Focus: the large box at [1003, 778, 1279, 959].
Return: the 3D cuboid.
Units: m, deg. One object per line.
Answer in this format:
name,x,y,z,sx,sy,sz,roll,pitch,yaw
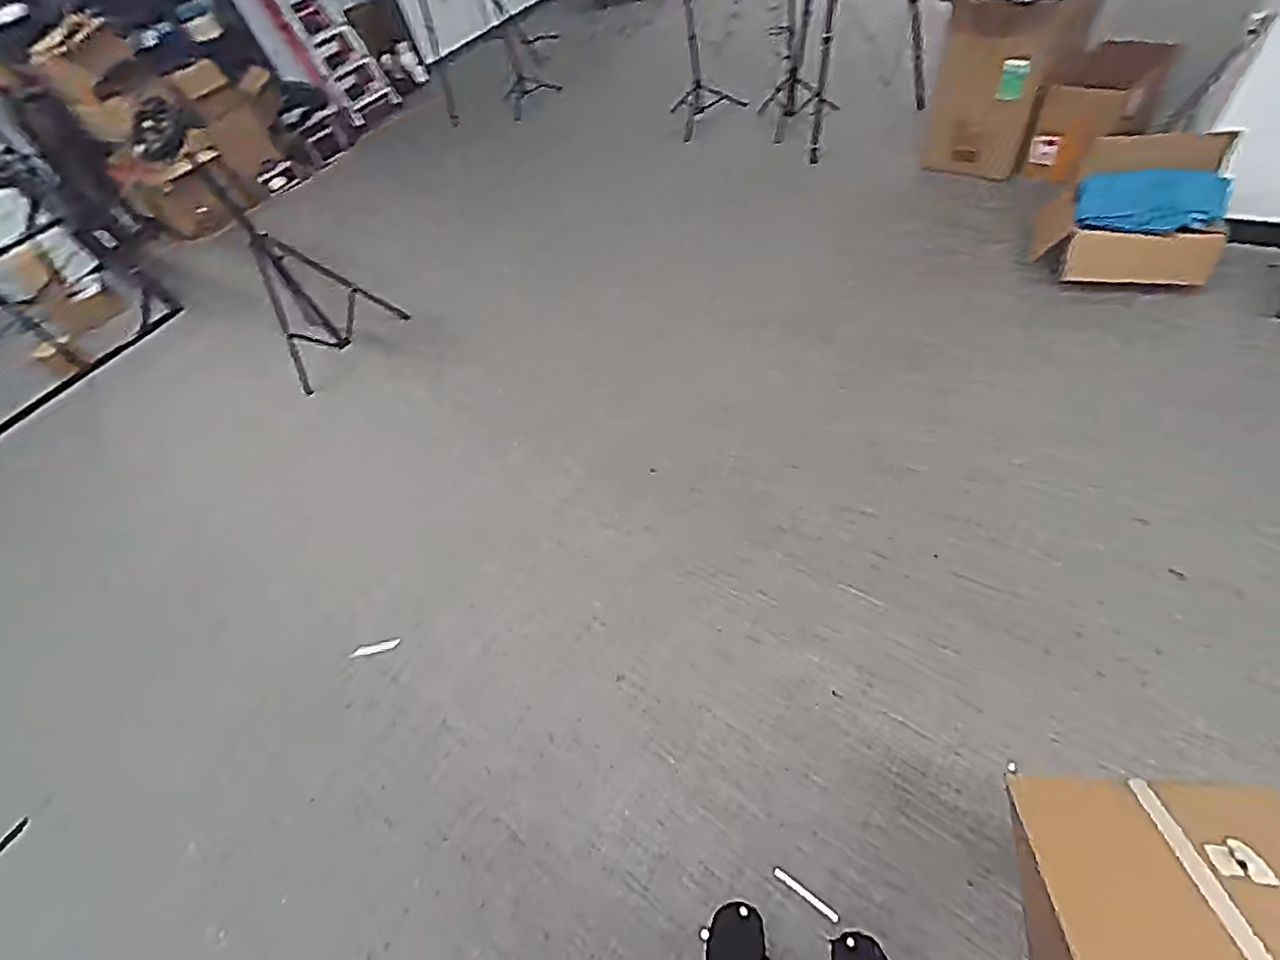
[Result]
large box,0.662,0.615,0.605,0.320,0.320,0.408,-9,7,21
